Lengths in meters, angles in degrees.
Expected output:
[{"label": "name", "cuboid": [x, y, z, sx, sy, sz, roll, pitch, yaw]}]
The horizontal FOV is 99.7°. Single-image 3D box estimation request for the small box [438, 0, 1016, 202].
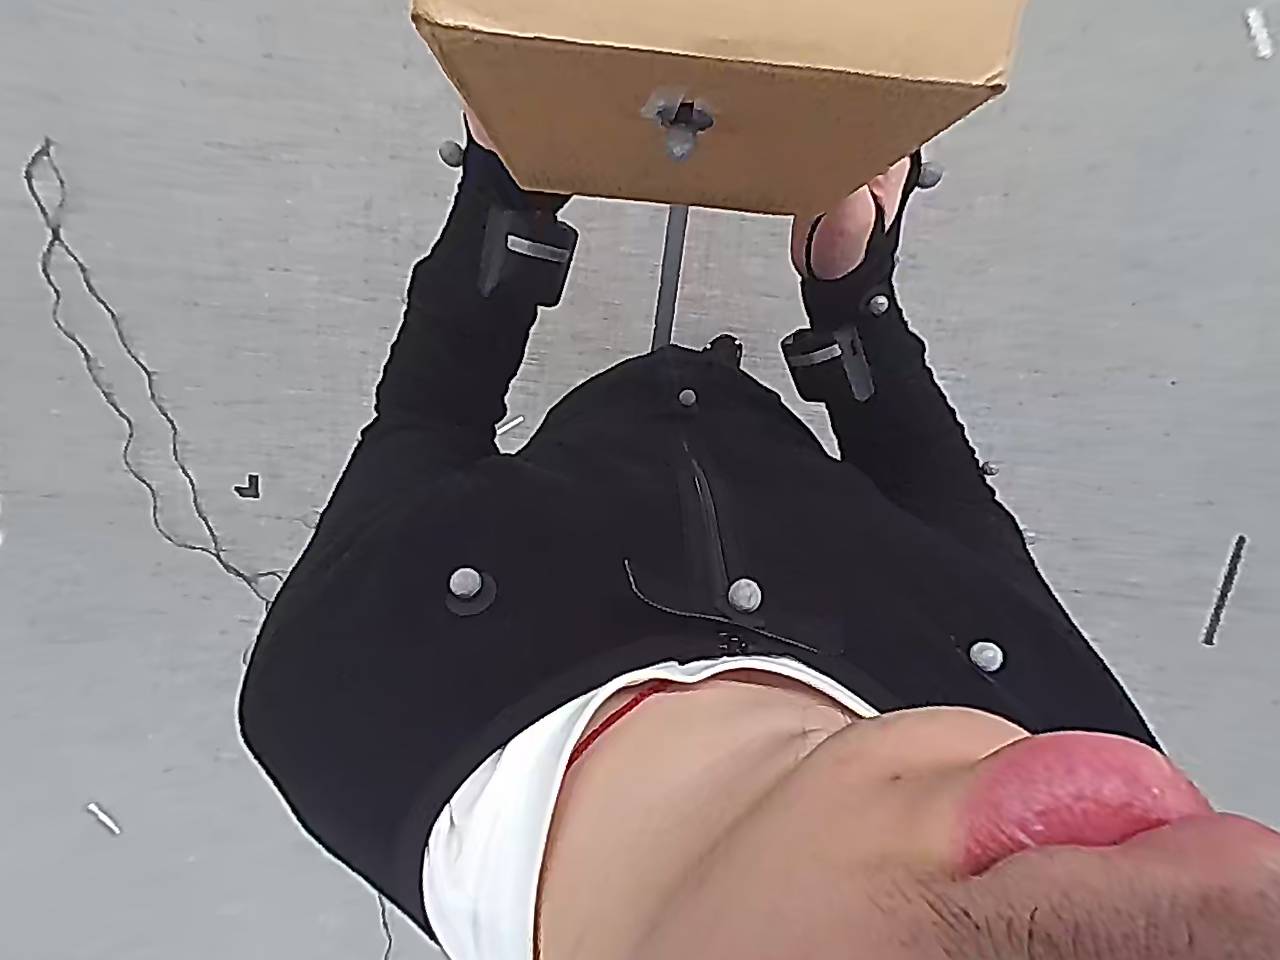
[{"label": "small box", "cuboid": [0.030, -0.228, 0.223, 0.179, 0.176, 0.168, 3, 104, -3]}]
